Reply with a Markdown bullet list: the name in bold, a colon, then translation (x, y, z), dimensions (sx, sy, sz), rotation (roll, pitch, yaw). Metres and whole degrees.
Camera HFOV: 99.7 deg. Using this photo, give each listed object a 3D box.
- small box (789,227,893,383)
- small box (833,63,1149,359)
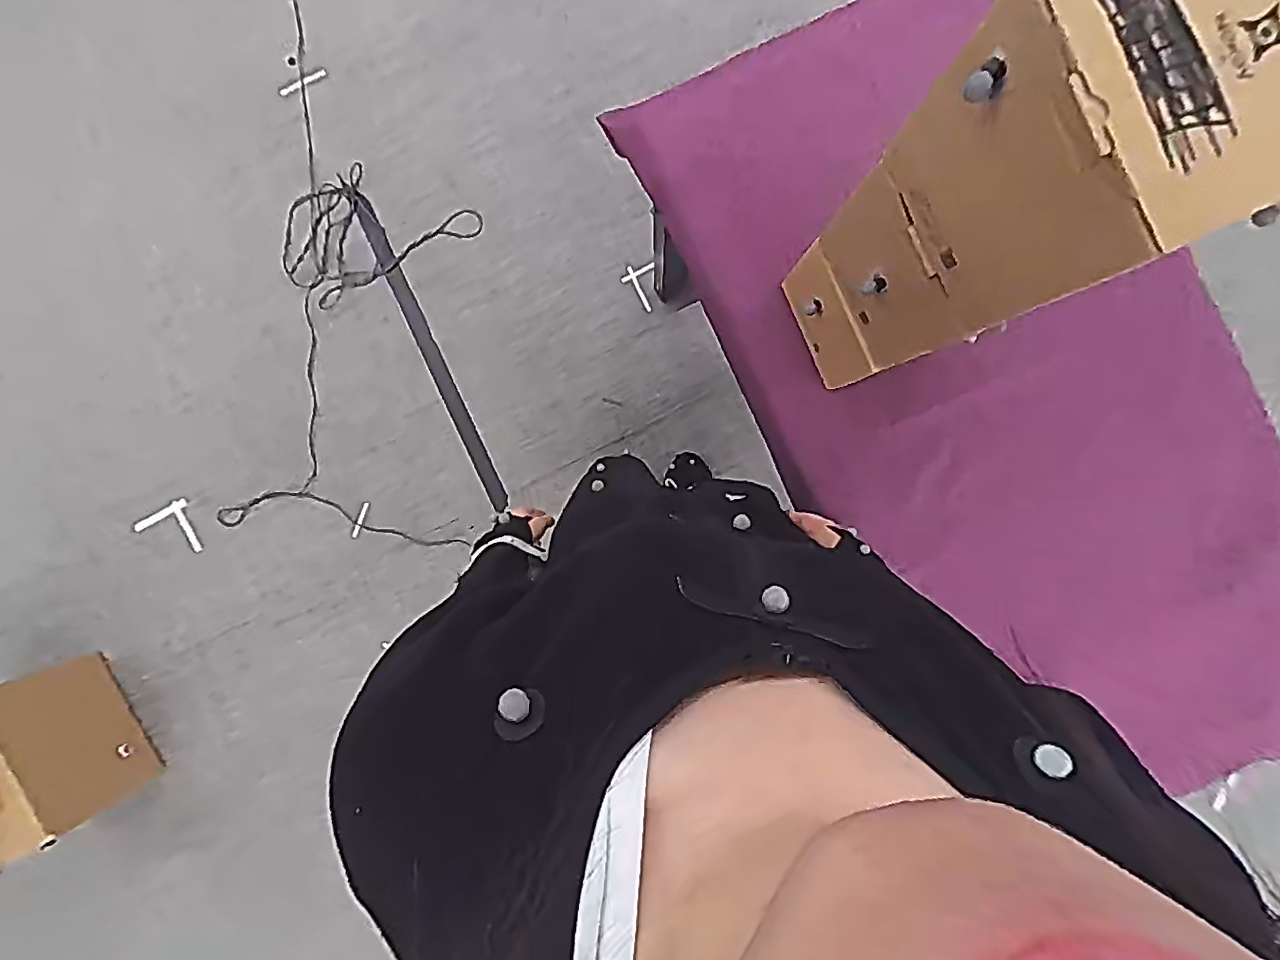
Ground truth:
- **small box**: translation (0.308, -0.238, 0.691), dimensions (0.179, 0.176, 0.168), rotation (-24, 92, 1)
- **small box**: translation (0.311, -0.235, 0.527), dimensions (0.179, 0.176, 0.168), rotation (-26, 92, 2)
